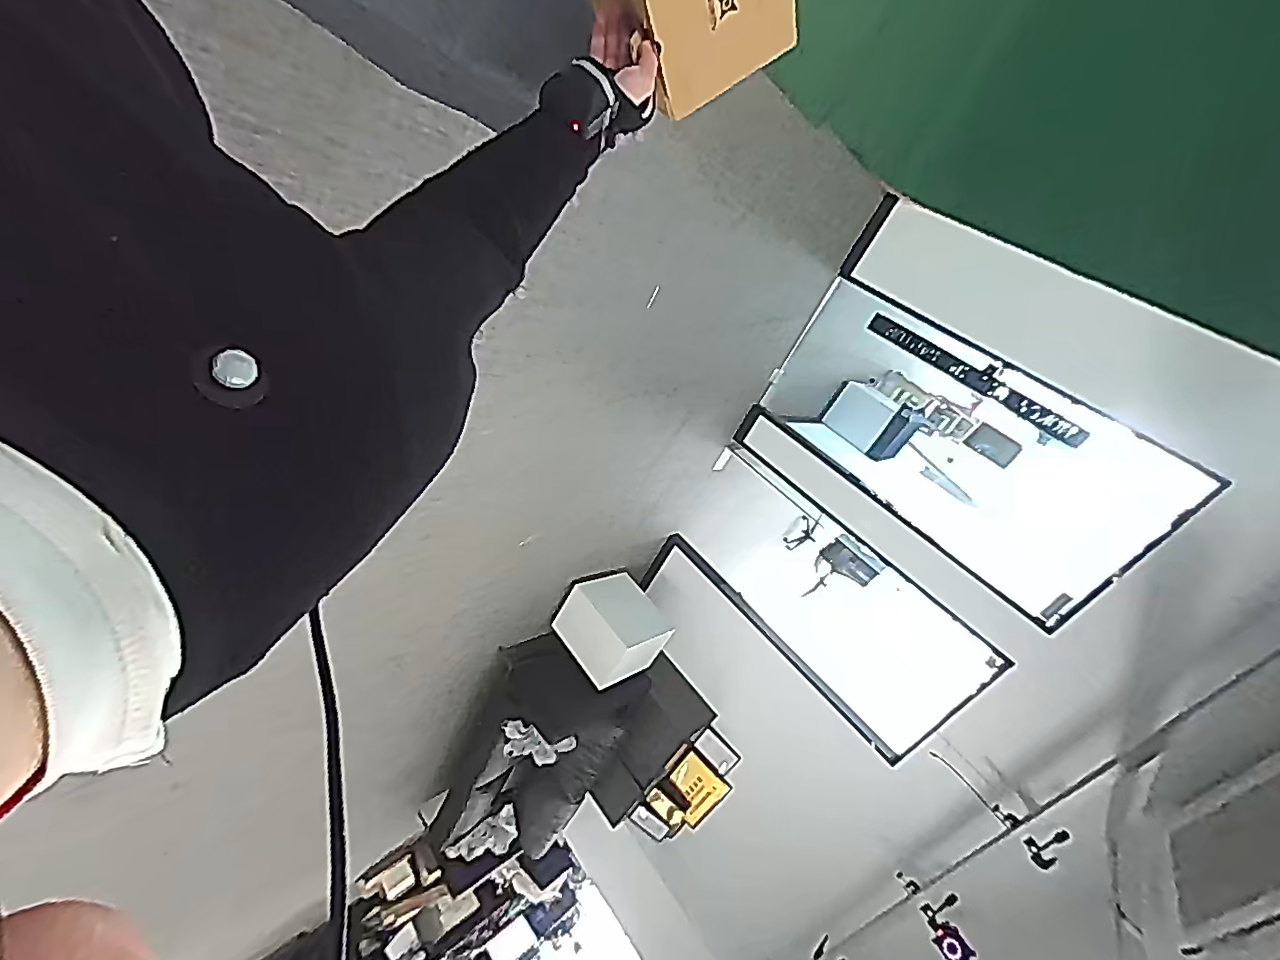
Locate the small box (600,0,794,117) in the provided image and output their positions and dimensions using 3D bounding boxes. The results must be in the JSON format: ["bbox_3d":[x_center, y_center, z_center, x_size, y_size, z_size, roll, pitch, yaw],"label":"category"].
[{"bbox_3d":[0.053,-0.570,0.616,0.179,0.176,0.168,-32,151,1],"label":"small box"}]
